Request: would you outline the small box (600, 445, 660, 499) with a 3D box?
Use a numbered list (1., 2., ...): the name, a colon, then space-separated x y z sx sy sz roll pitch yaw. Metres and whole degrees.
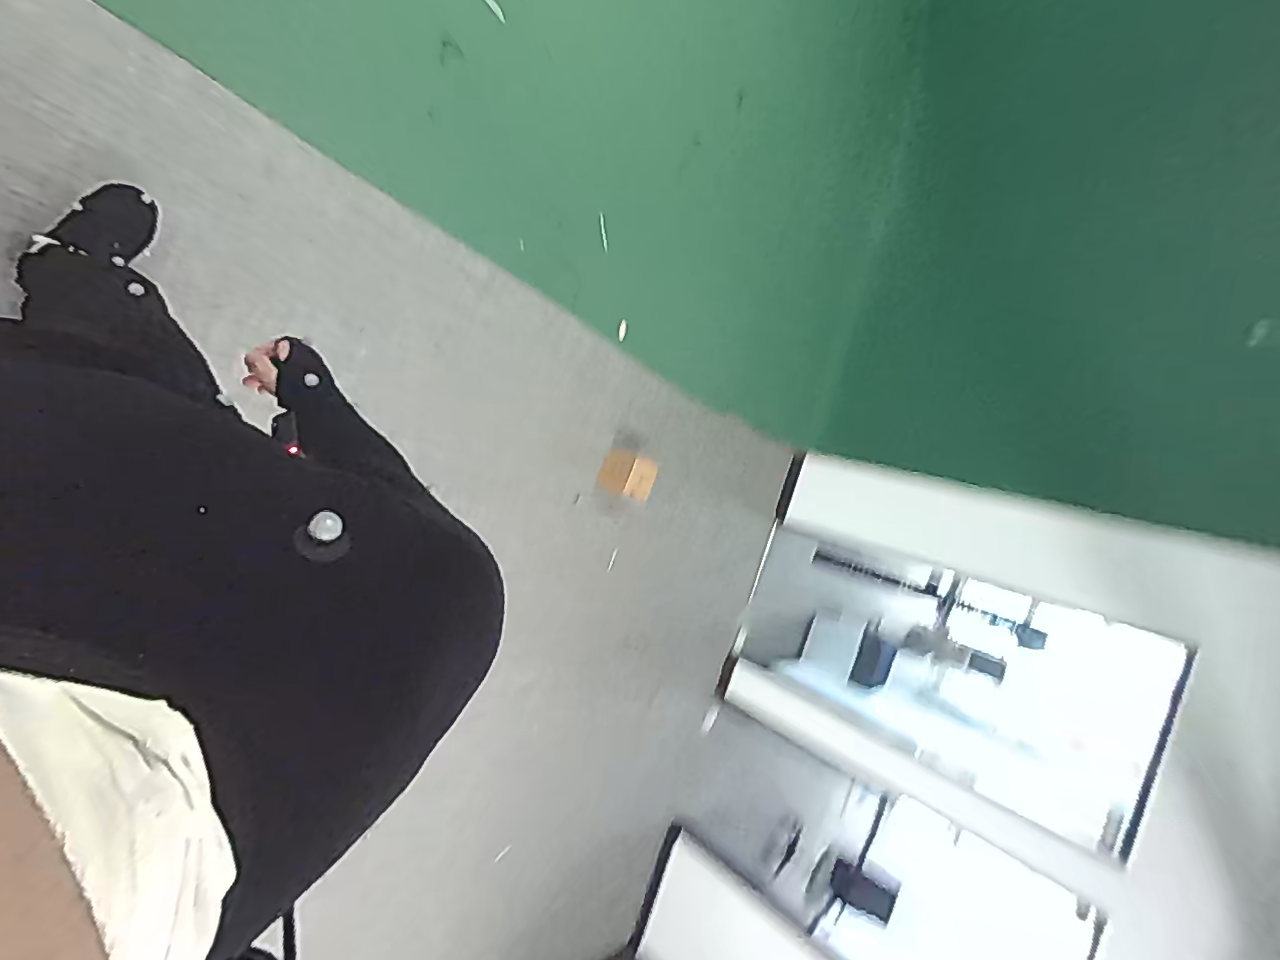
1. small box: -0.046 -0.038 2.325 0.168 0.176 0.179 25 85 -49
